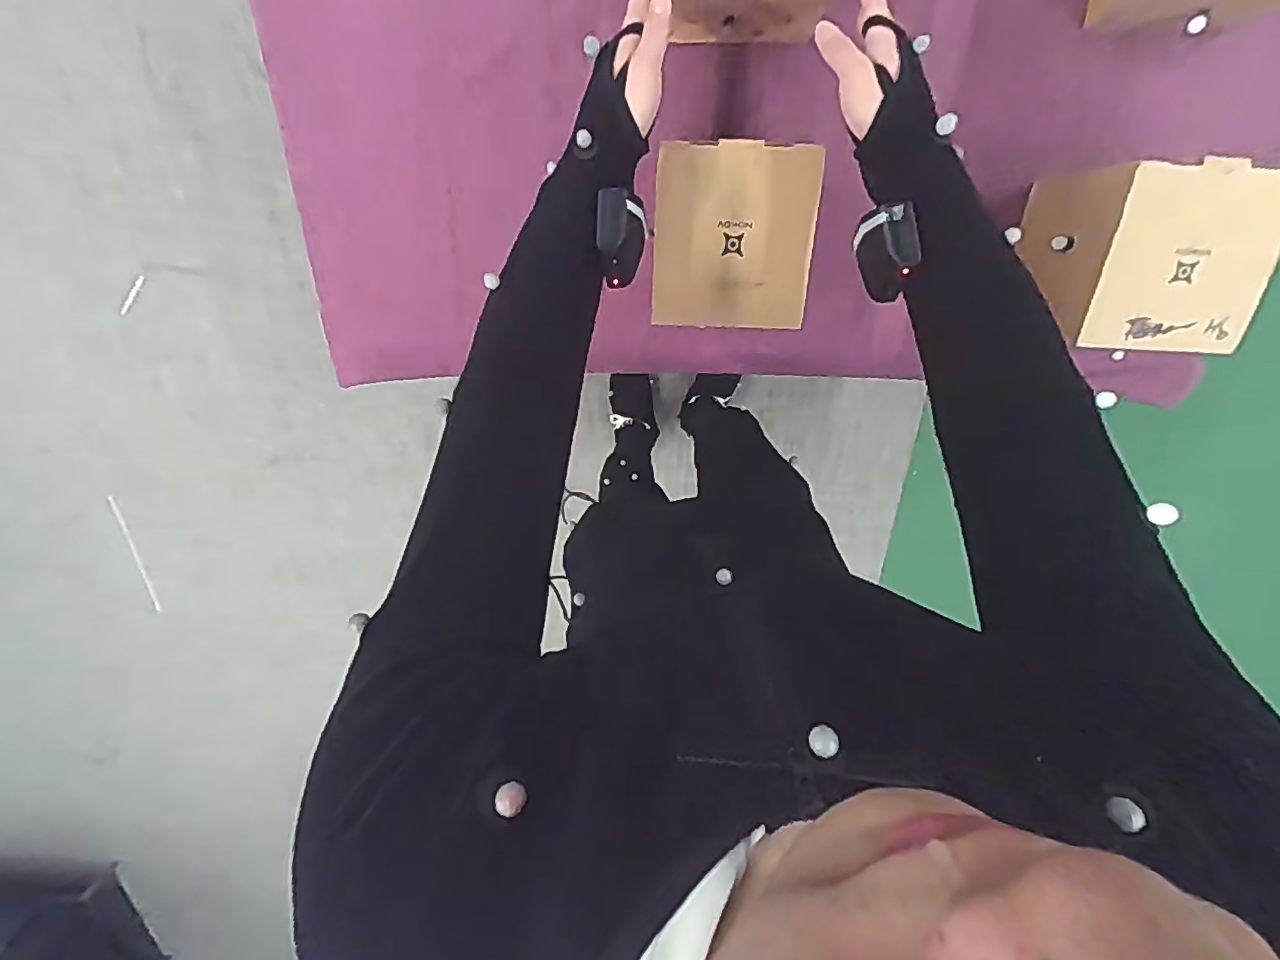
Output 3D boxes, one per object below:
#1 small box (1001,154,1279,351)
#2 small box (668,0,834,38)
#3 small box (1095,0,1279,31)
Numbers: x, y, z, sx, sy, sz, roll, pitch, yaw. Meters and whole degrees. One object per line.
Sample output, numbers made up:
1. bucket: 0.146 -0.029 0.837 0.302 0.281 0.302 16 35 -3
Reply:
1. small box: 0.554 -0.250 0.614 0.168 0.176 0.179 4 111 3
2. small box: 0.111 -0.553 0.507 0.168 0.176 0.179 2 115 1
3. small box: 0.566 -0.541 0.484 0.168 0.176 0.179 2 114 5
